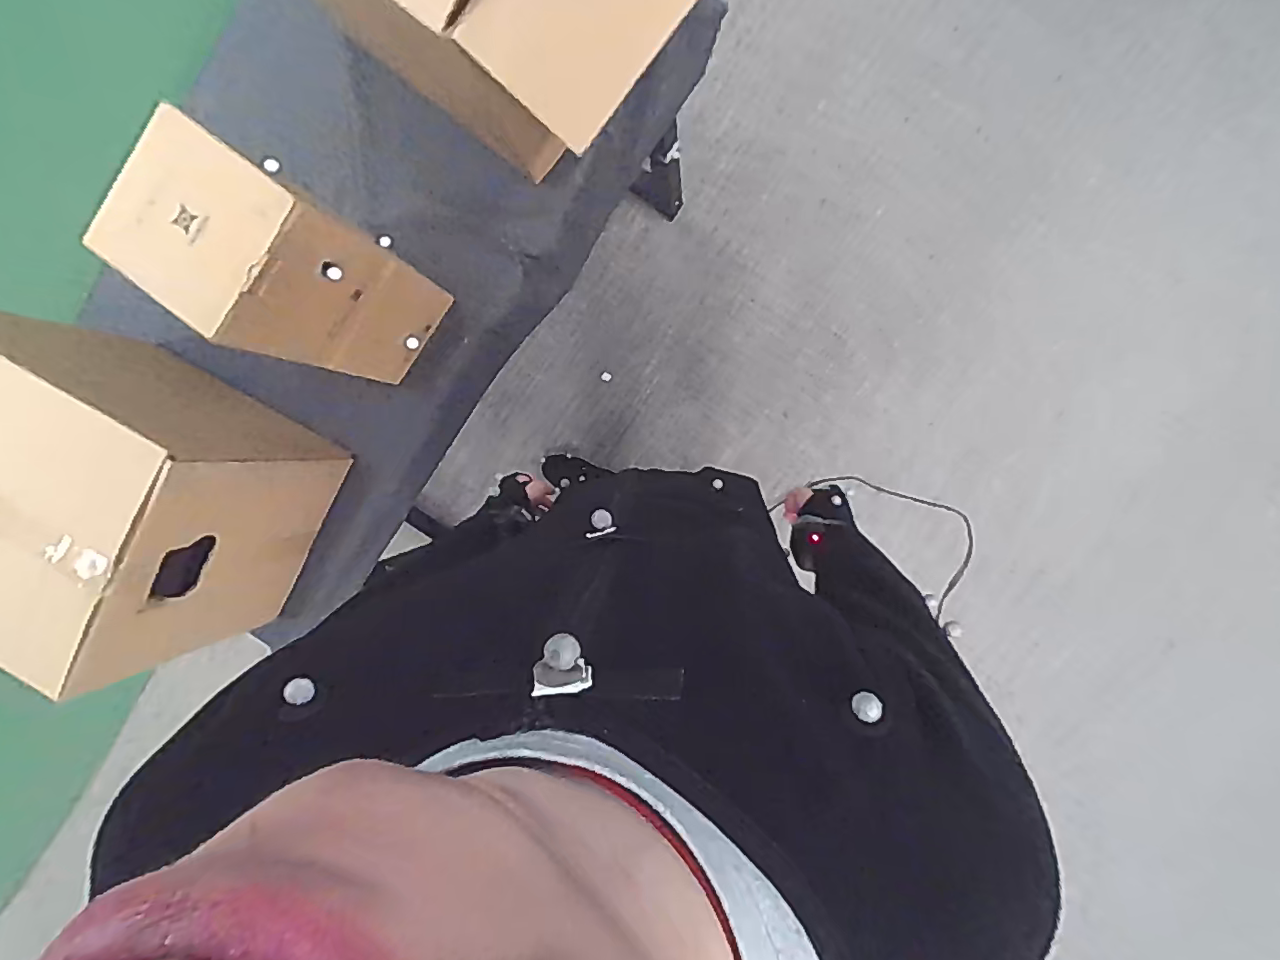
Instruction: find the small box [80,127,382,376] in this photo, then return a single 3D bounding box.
[{"bbox_3d":[-0.433,-0.232,0.604,0.179,0.176,0.168,36,96,3],"label":"small box"}]
